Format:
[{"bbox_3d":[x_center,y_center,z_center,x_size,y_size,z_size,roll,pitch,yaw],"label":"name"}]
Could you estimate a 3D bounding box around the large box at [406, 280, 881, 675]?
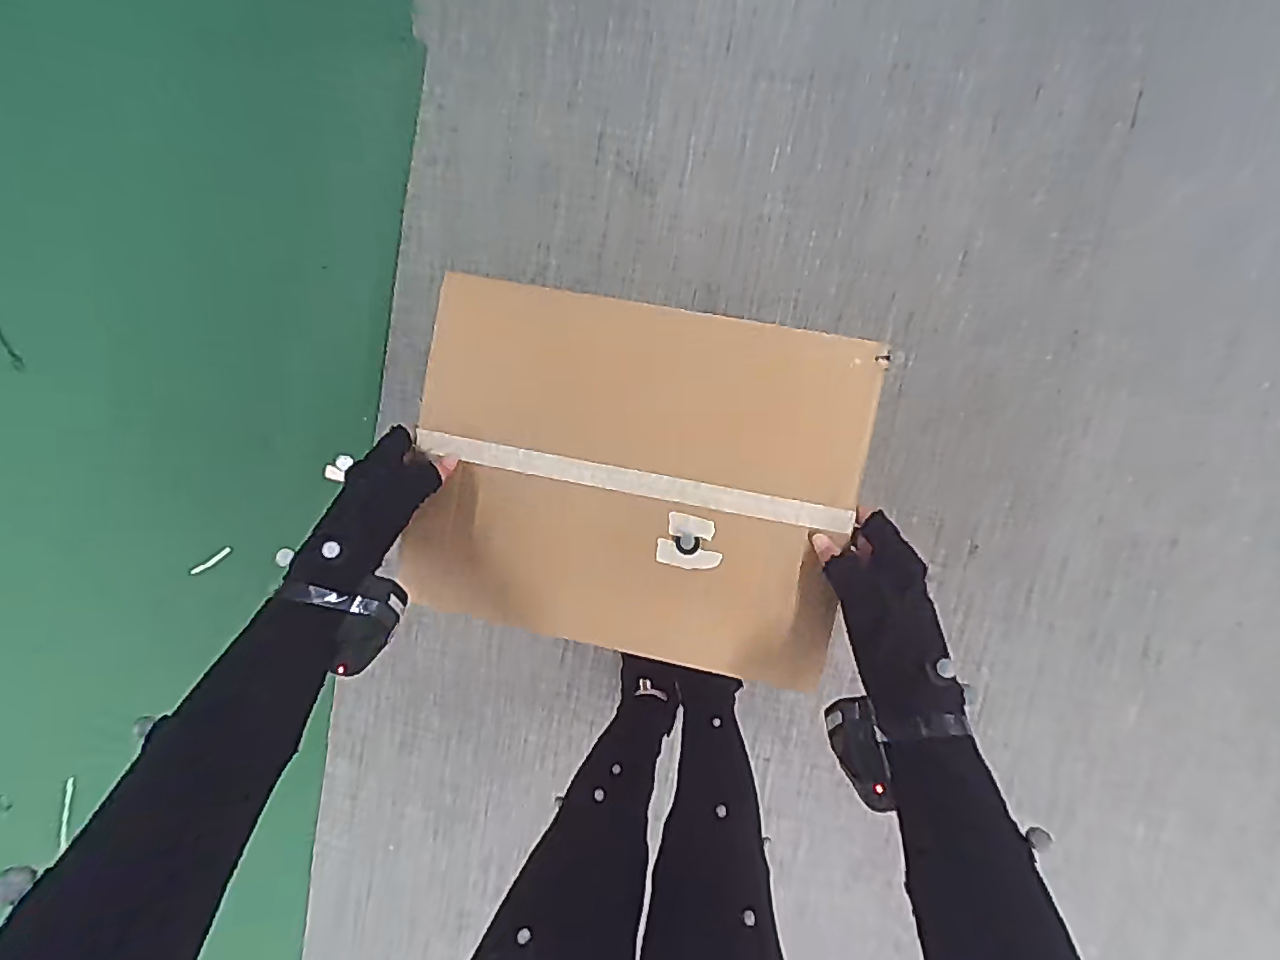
[{"bbox_3d":[0.005,-0.008,0.647,0.408,0.320,0.320,11,93,5],"label":"large box"}]
